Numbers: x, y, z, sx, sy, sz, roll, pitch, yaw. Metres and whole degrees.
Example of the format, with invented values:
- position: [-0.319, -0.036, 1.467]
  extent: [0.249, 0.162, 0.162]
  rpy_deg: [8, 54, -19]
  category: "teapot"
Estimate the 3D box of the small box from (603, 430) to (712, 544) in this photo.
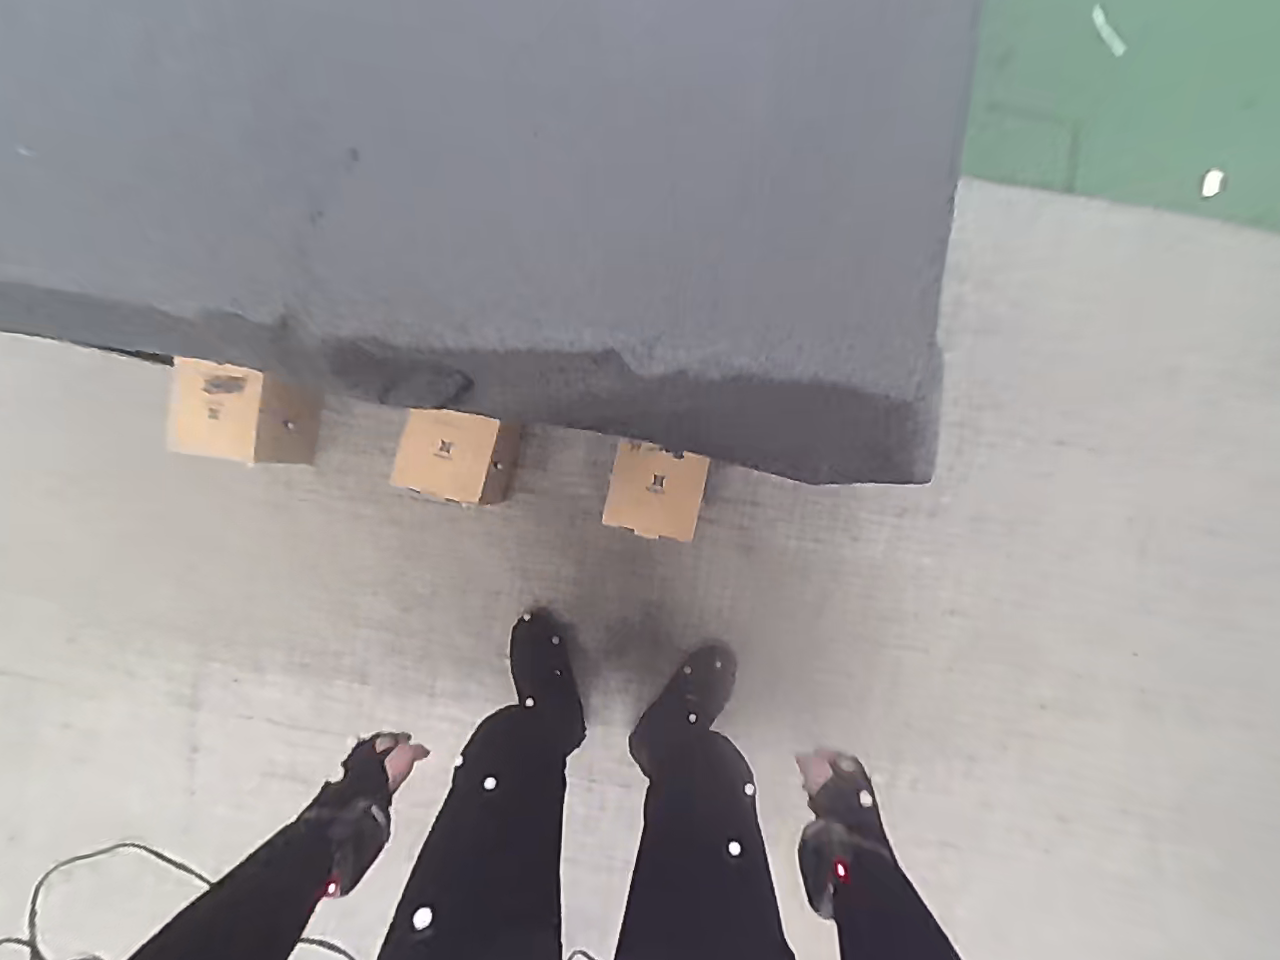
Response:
- position: [0.034, 0.013, 1.023]
  extent: [0.168, 0.176, 0.179]
  rpy_deg: [12, 89, 2]
  category: "small box"

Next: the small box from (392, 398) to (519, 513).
- position: [-0.341, -0.042, 1.033]
  extent: [0.168, 0.176, 0.179]
  rpy_deg: [13, 89, 0]
  category: "small box"

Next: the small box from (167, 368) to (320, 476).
- position: [-0.751, -0.104, 1.042]
  extent: [0.168, 0.176, 0.179]
  rpy_deg: [7, 91, 2]
  category: "small box"
